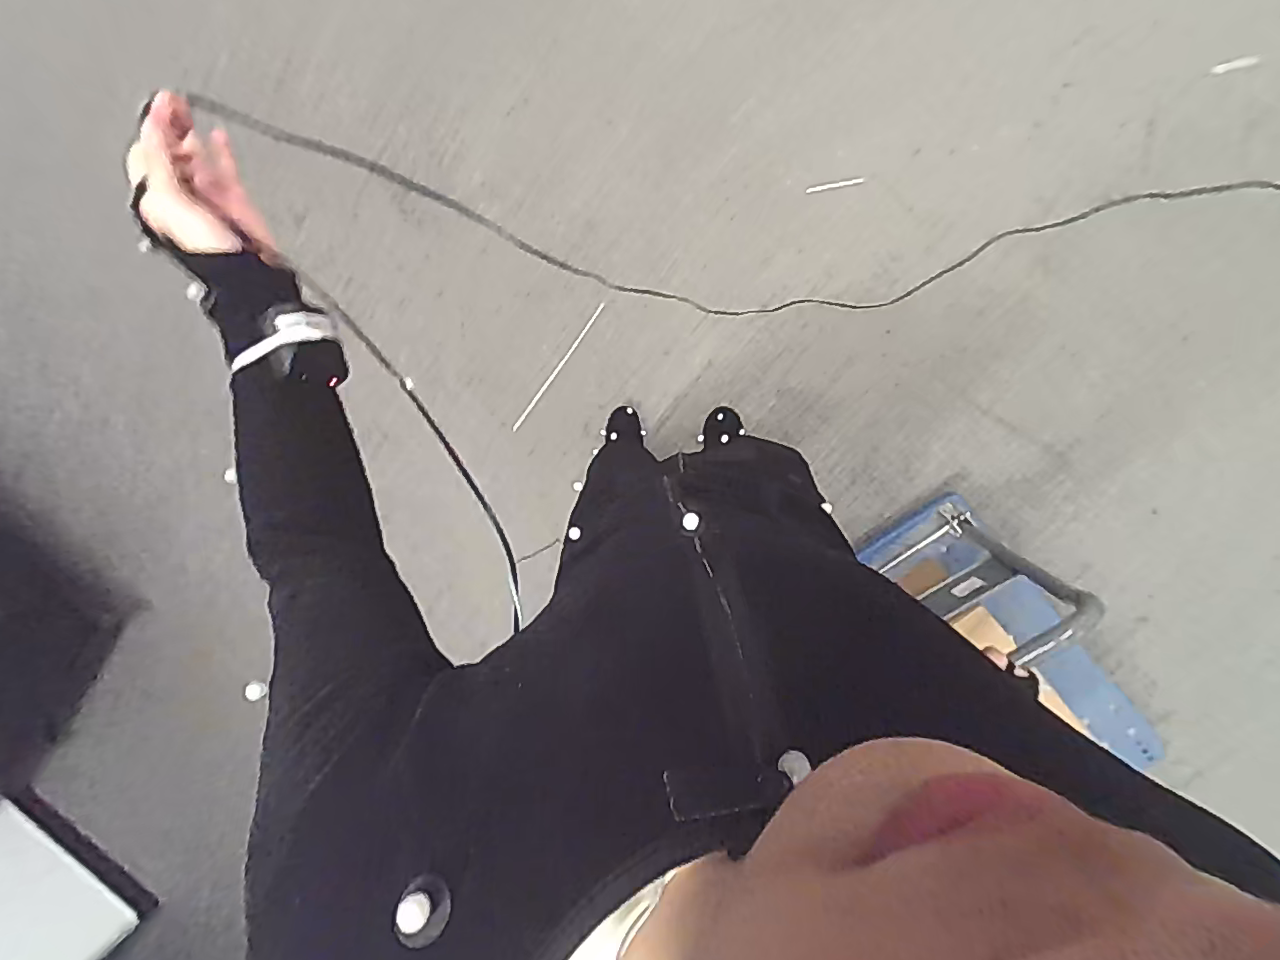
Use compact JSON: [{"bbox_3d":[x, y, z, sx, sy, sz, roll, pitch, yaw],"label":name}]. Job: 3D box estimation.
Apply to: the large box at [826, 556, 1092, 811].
[{"bbox_3d":[0.715,0.458,1.288,0.320,0.320,0.408,-40,91,15],"label":"large box"}]
